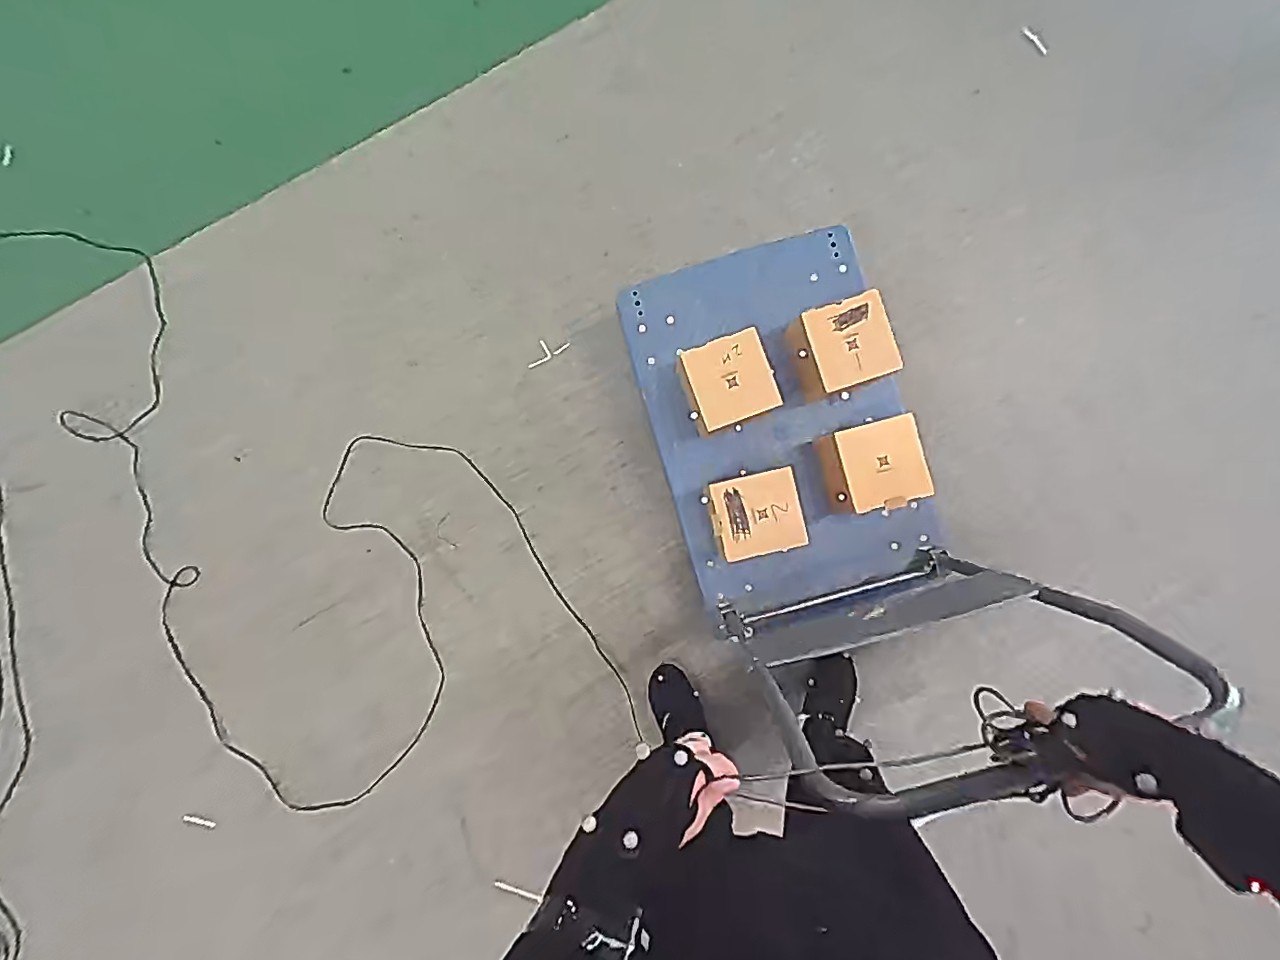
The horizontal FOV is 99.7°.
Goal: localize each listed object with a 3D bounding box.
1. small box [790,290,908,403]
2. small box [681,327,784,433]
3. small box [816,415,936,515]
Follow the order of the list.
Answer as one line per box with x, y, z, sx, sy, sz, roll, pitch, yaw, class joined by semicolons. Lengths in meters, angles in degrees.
0.440;-0.280;1.169;0.168;0.176;0.179;-17;90;2;small box
0.194;-0.206;1.177;0.168;0.176;0.179;-19;89;1;small box
0.499;-0.028;1.169;0.168;0.176;0.179;-14;90;2;small box
